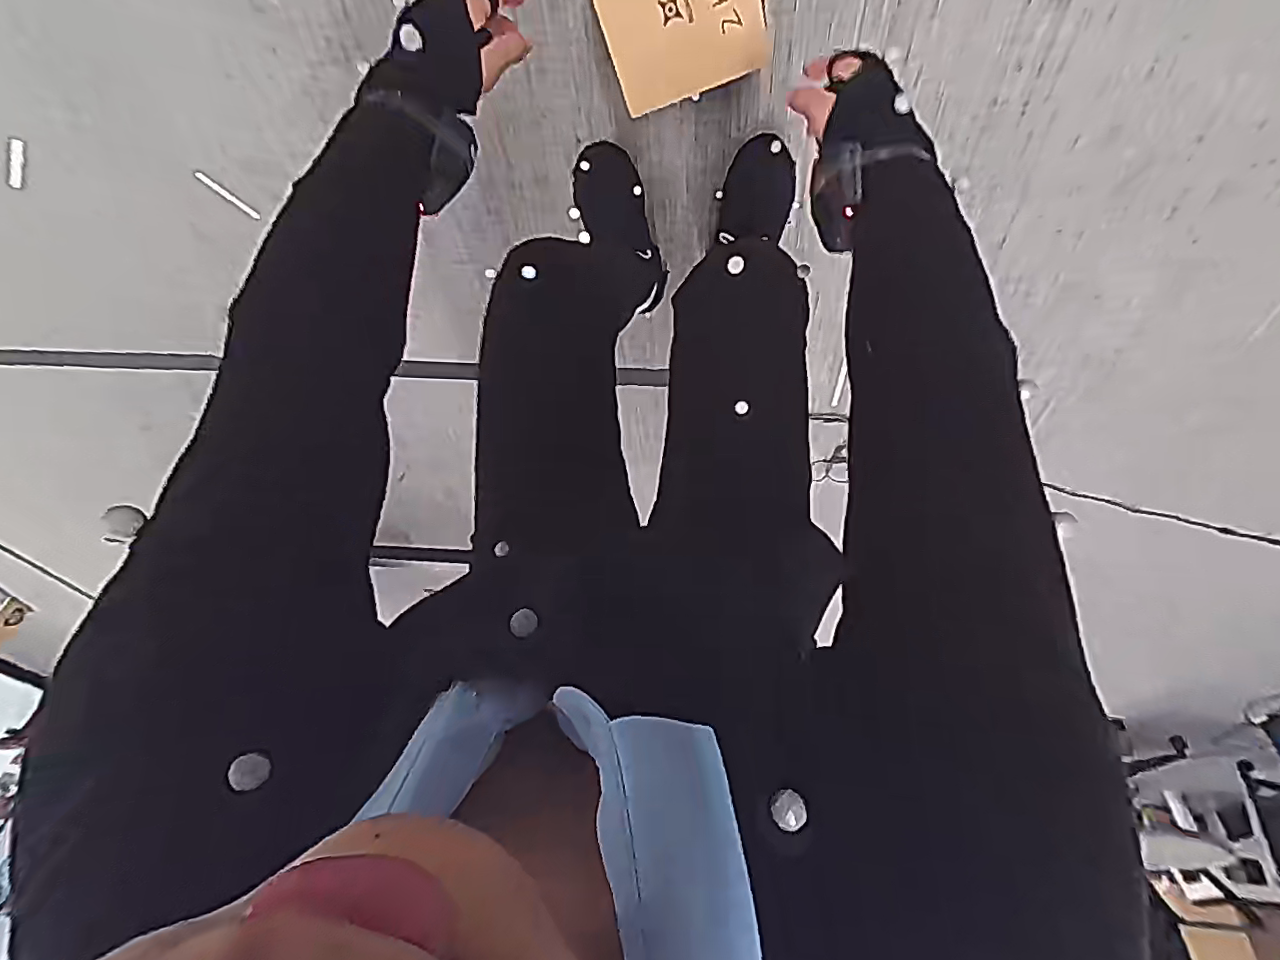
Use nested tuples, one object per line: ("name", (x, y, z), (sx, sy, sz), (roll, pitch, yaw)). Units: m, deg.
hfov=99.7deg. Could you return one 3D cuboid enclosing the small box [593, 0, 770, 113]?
("small box", (0.051, -0.571, 0.631), (0.179, 0.176, 0.168), (-9, 137, 20))
